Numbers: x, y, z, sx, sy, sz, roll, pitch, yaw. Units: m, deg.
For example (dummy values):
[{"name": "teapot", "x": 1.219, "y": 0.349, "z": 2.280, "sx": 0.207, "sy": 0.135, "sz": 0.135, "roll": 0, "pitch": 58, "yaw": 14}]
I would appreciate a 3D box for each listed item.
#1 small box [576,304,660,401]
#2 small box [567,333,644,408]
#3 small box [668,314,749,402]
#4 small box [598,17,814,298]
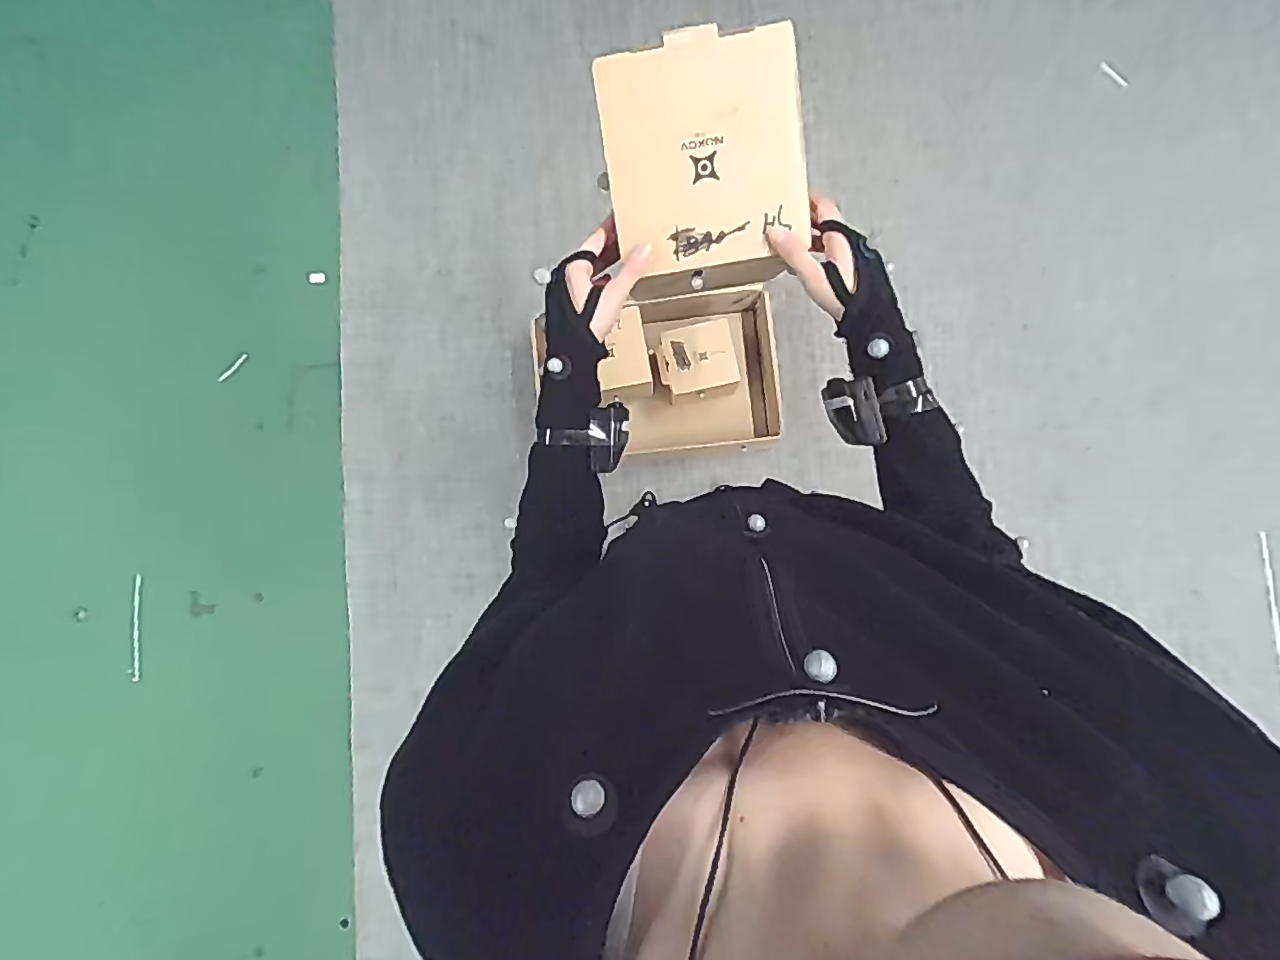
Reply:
[{"name": "small box", "x": -0.045, "y": -0.290, "z": 1.273, "sx": 0.168, "sy": 0.176, "sz": 0.179, "roll": -10, "pitch": 88, "yaw": 2}, {"name": "small box", "x": -0.084, "y": -0.295, "z": 1.439, "sx": 0.179, "sy": 0.176, "sz": 0.168, "roll": -9, "pitch": 88, "yaw": 2}, {"name": "small box", "x": 0.178, "y": -0.312, "z": 1.418, "sx": 0.179, "sy": 0.176, "sz": 0.168, "roll": -12, "pitch": 87, "yaw": 4}, {"name": "small box", "x": 0.061, "y": -0.289, "z": 0.528, "sx": 0.168, "sy": 0.176, "sz": 0.179, "roll": -8, "pitch": 102, "yaw": 6}]
